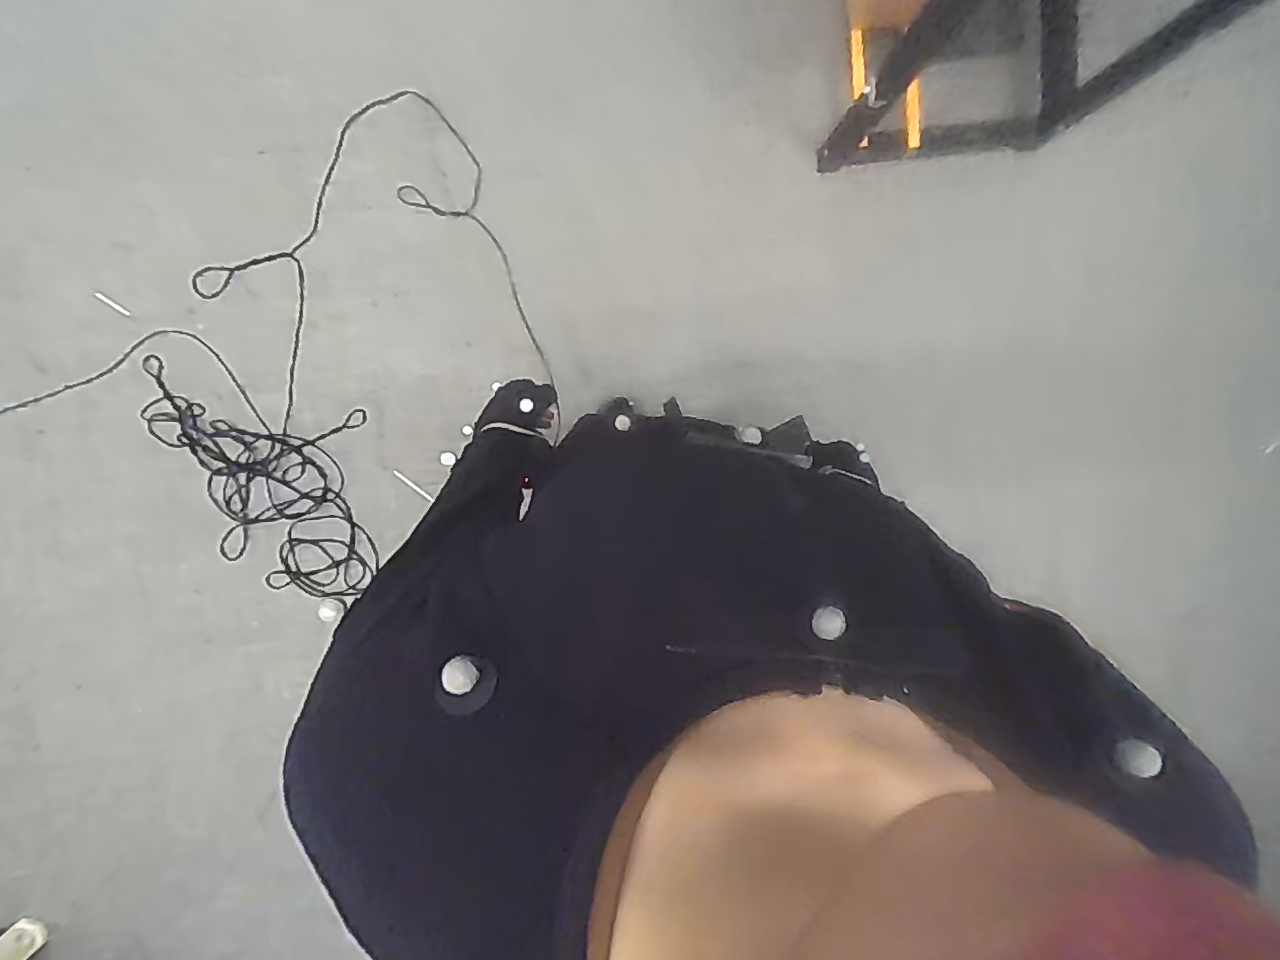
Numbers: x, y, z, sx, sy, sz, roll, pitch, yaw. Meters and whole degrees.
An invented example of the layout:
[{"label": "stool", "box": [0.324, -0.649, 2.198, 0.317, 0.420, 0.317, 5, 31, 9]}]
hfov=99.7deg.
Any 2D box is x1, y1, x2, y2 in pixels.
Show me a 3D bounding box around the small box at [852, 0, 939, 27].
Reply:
[{"label": "small box", "box": [0.575, -1.127, 1.171, 0.179, 0.176, 0.168, -3, 97, -1]}]
